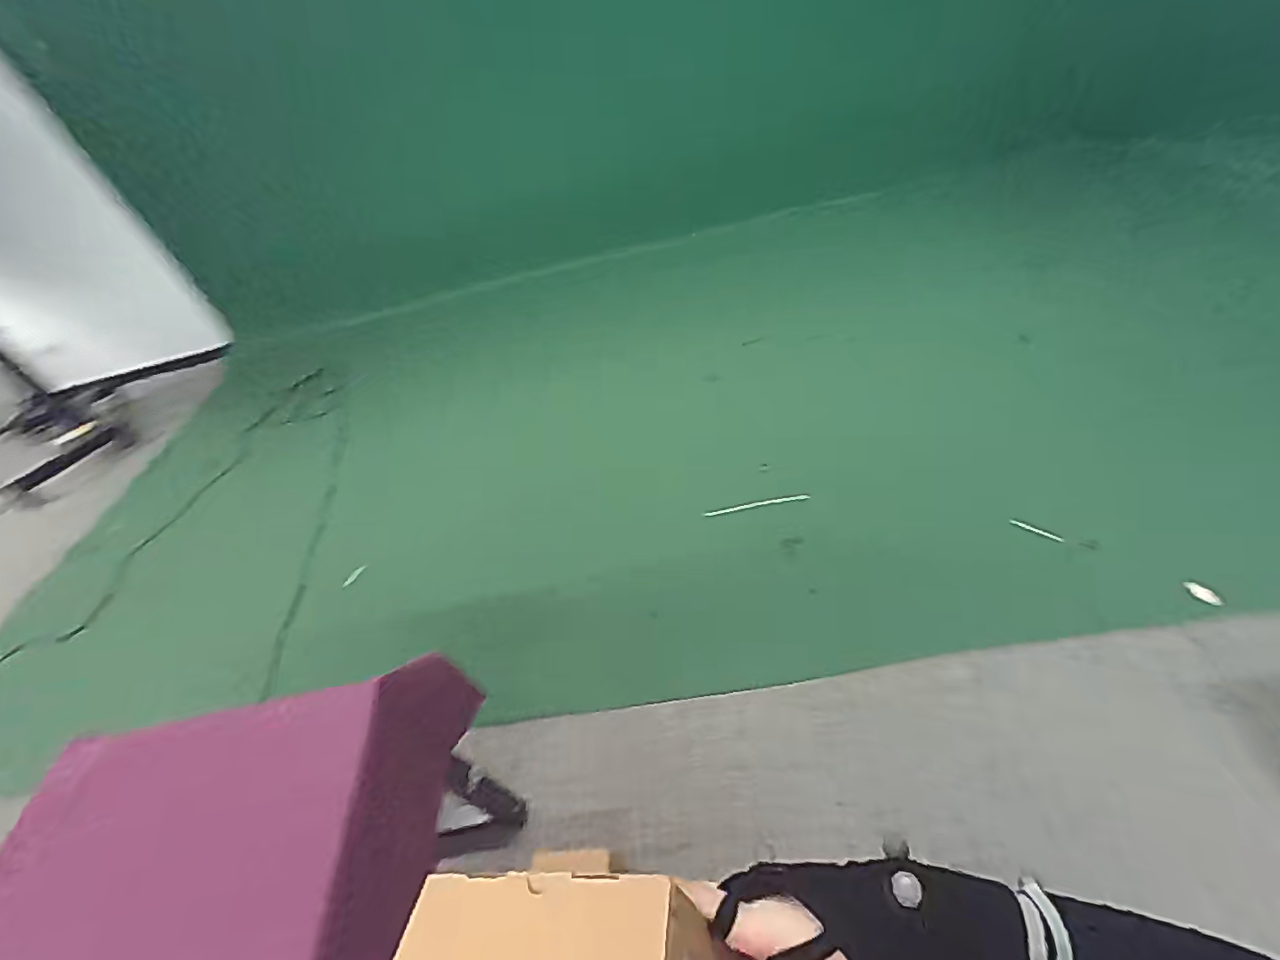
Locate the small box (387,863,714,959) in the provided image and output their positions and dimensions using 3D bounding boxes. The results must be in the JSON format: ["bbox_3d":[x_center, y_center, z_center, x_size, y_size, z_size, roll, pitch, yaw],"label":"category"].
[{"bbox_3d":[-0.046,0.343,0.289,0.168,0.176,0.179,-14,30,21],"label":"small box"}]
